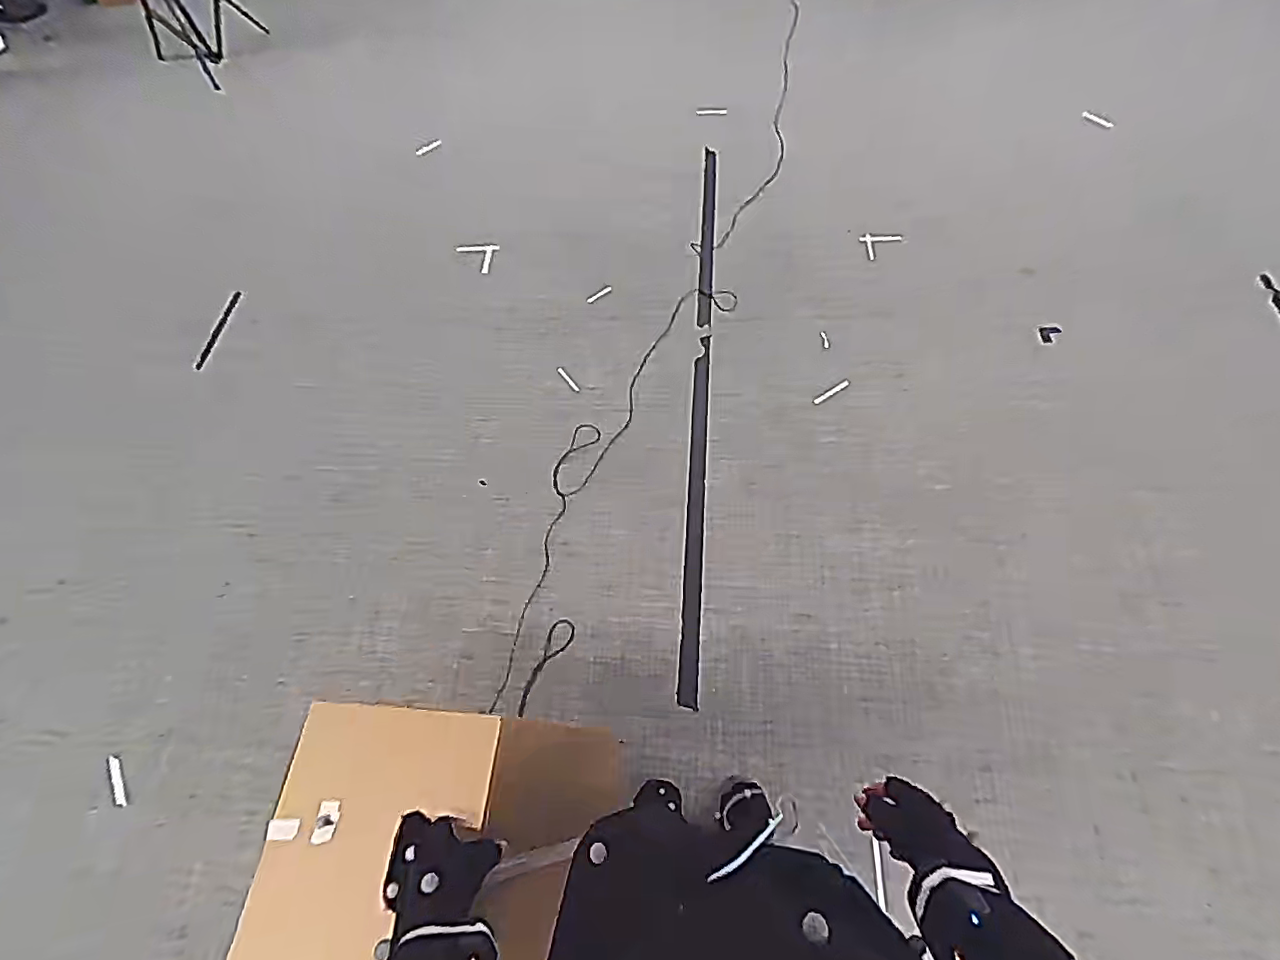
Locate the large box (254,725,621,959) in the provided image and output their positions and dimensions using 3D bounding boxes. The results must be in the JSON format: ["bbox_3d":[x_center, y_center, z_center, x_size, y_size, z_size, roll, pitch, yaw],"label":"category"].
[{"bbox_3d":[-0.249,0.540,0.798,0.320,0.408,0.320,-4,63,19],"label":"large box"}]
